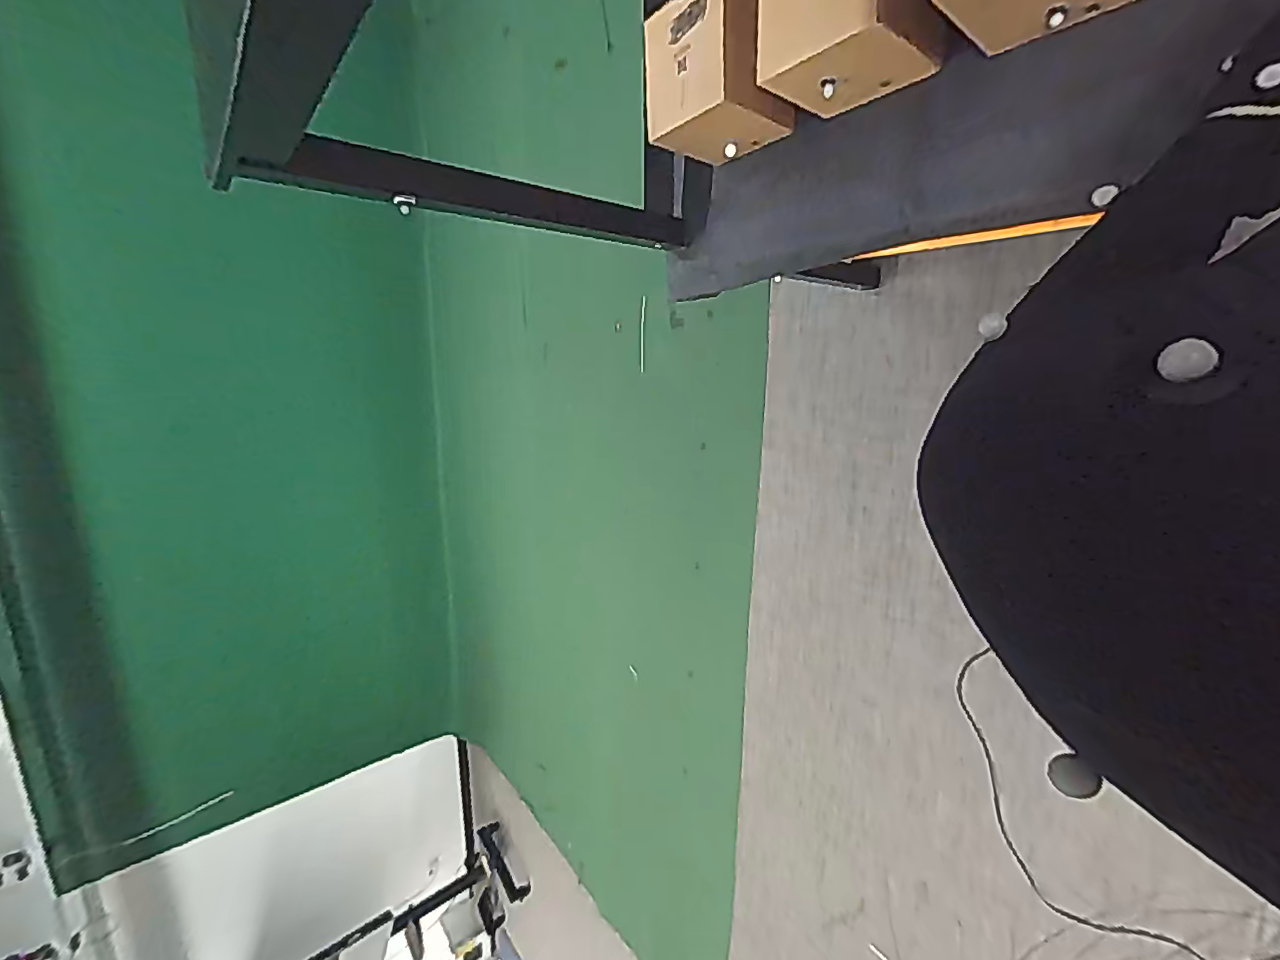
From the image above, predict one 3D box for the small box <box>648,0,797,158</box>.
[{"bbox_3d":[0.130,-0.640,0.848,0.168,0.176,0.179,11,106,50],"label":"small box"}]
